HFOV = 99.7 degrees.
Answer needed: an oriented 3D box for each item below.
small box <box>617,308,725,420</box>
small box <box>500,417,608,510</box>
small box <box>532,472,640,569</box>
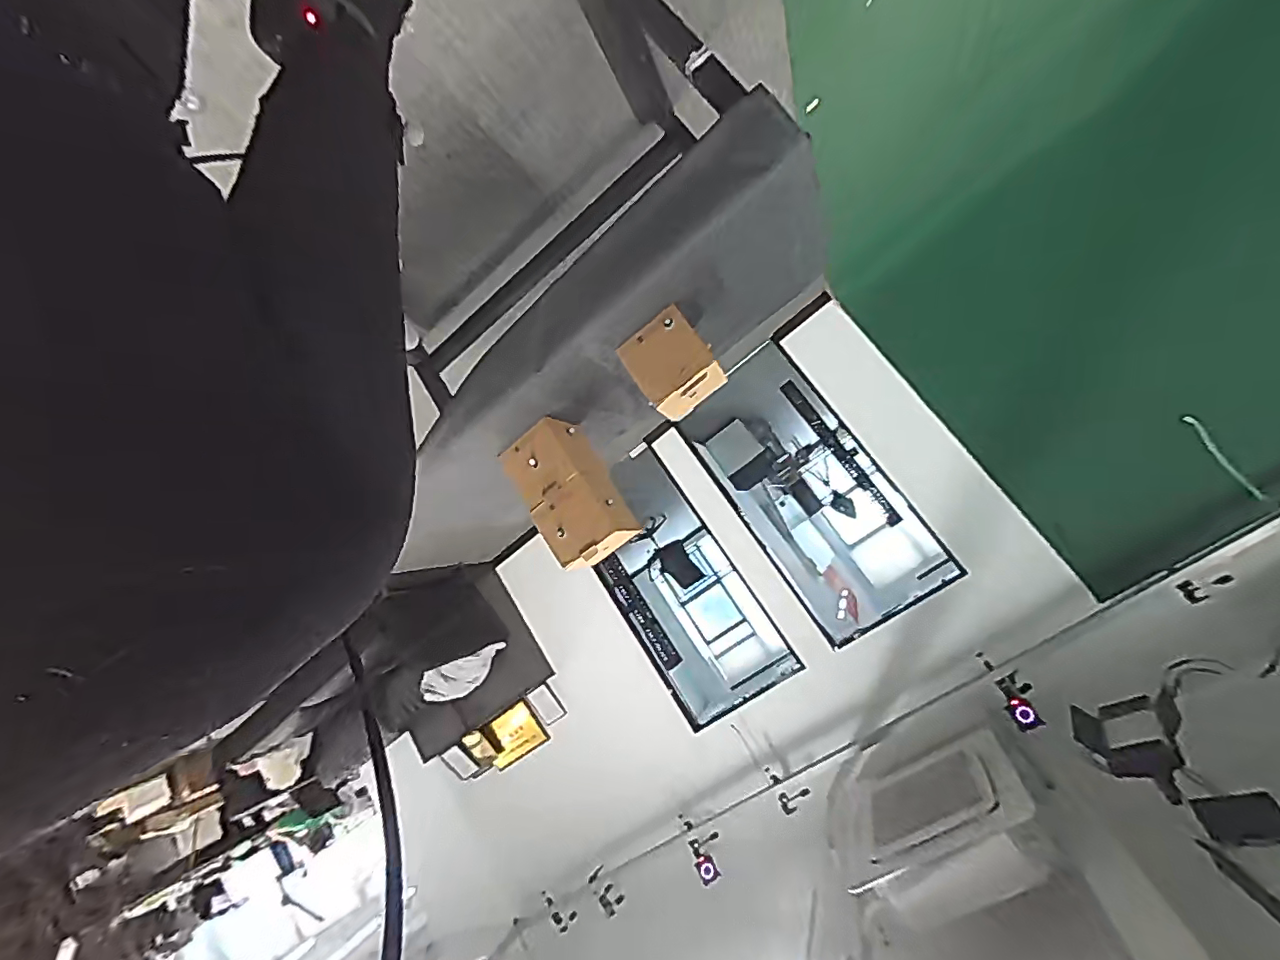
[{"bbox_3d":[0.072,-0.267,1.246,0.168,0.176,0.179,-37,167,12],"label":"small box"},{"bbox_3d":[-0.218,-0.039,1.358,0.168,0.176,0.179,-38,165,17],"label":"small box"},{"bbox_3d":[-0.132,0.095,1.320,0.168,0.176,0.179,-37,167,14],"label":"small box"}]
